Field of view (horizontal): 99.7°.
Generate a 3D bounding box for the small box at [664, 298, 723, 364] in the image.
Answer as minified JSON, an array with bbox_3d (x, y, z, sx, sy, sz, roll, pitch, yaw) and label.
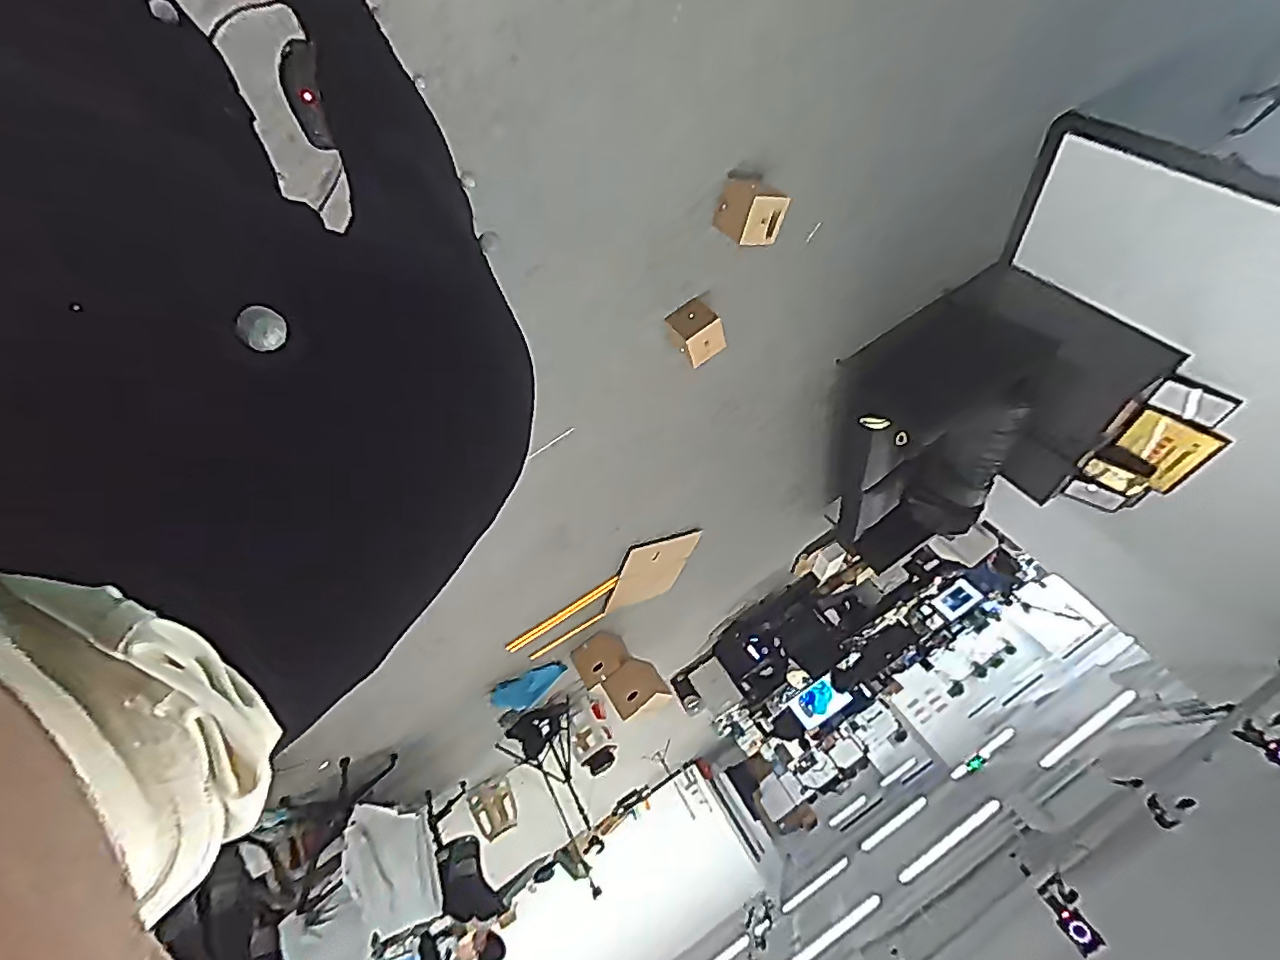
[{"bbox_3d":[0.219,-0.620,2.226,0.168,0.176,0.179,-35,148,-2],"label":"small box"}]
